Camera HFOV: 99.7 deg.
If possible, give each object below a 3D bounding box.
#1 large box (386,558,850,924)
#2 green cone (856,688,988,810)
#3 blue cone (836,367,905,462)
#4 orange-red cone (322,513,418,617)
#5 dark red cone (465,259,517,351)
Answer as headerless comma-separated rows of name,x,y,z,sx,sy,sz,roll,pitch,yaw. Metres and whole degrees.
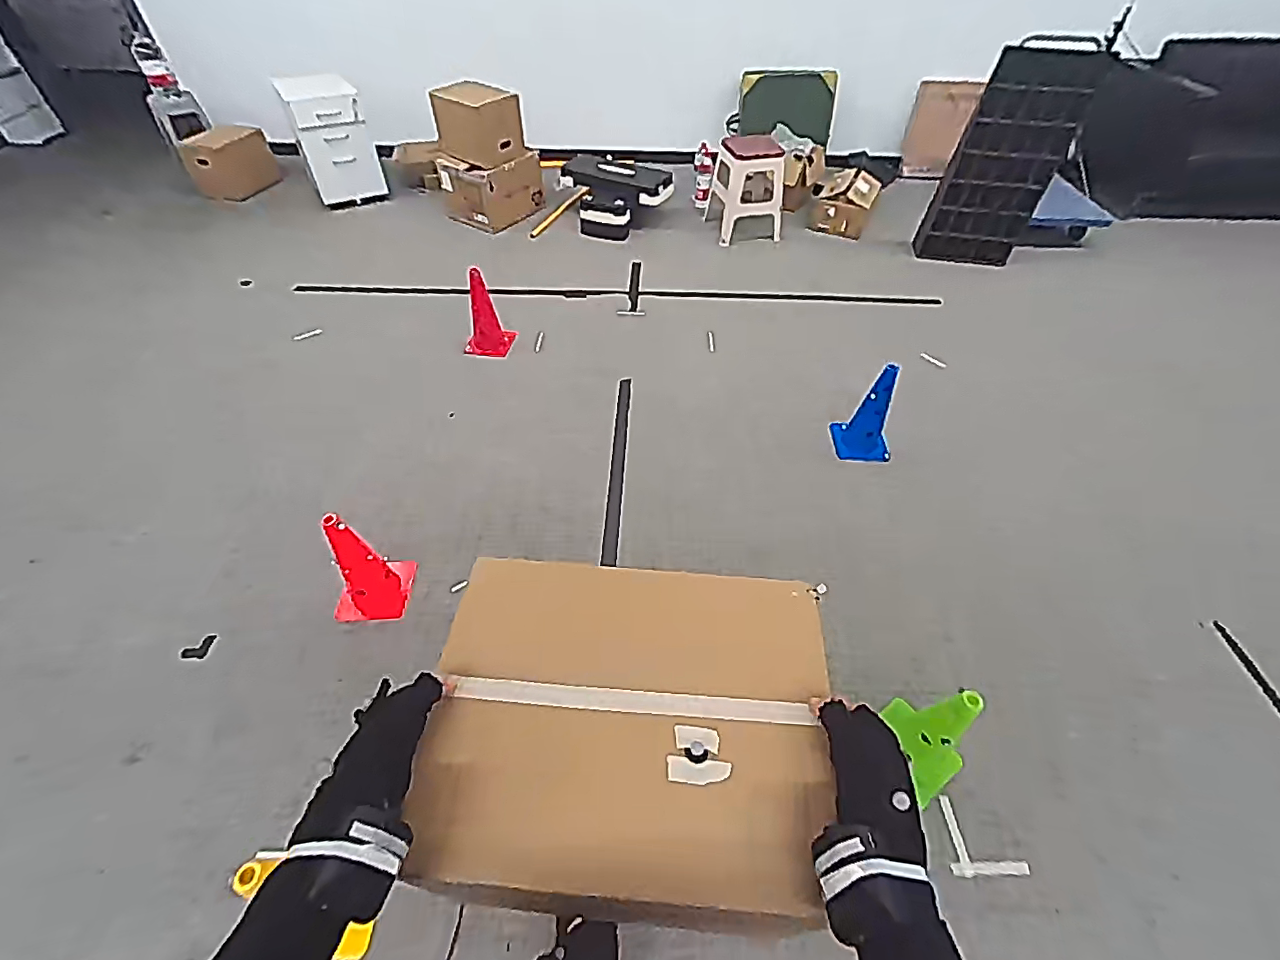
large box,-0.015,0.320,0.662,0.408,0.320,0.320,4,48,2
green cone,0.678,0.566,1.224,0.202,0.368,0.200,-27,55,-25
blue cone,0.870,-0.253,1.981,0.192,0.380,0.193,5,49,2
orange-red cone,-0.792,0.216,1.511,0.198,0.360,0.199,0,50,0
dark red cone,-0.675,-0.765,2.357,0.201,0.394,0.202,7,49,4
